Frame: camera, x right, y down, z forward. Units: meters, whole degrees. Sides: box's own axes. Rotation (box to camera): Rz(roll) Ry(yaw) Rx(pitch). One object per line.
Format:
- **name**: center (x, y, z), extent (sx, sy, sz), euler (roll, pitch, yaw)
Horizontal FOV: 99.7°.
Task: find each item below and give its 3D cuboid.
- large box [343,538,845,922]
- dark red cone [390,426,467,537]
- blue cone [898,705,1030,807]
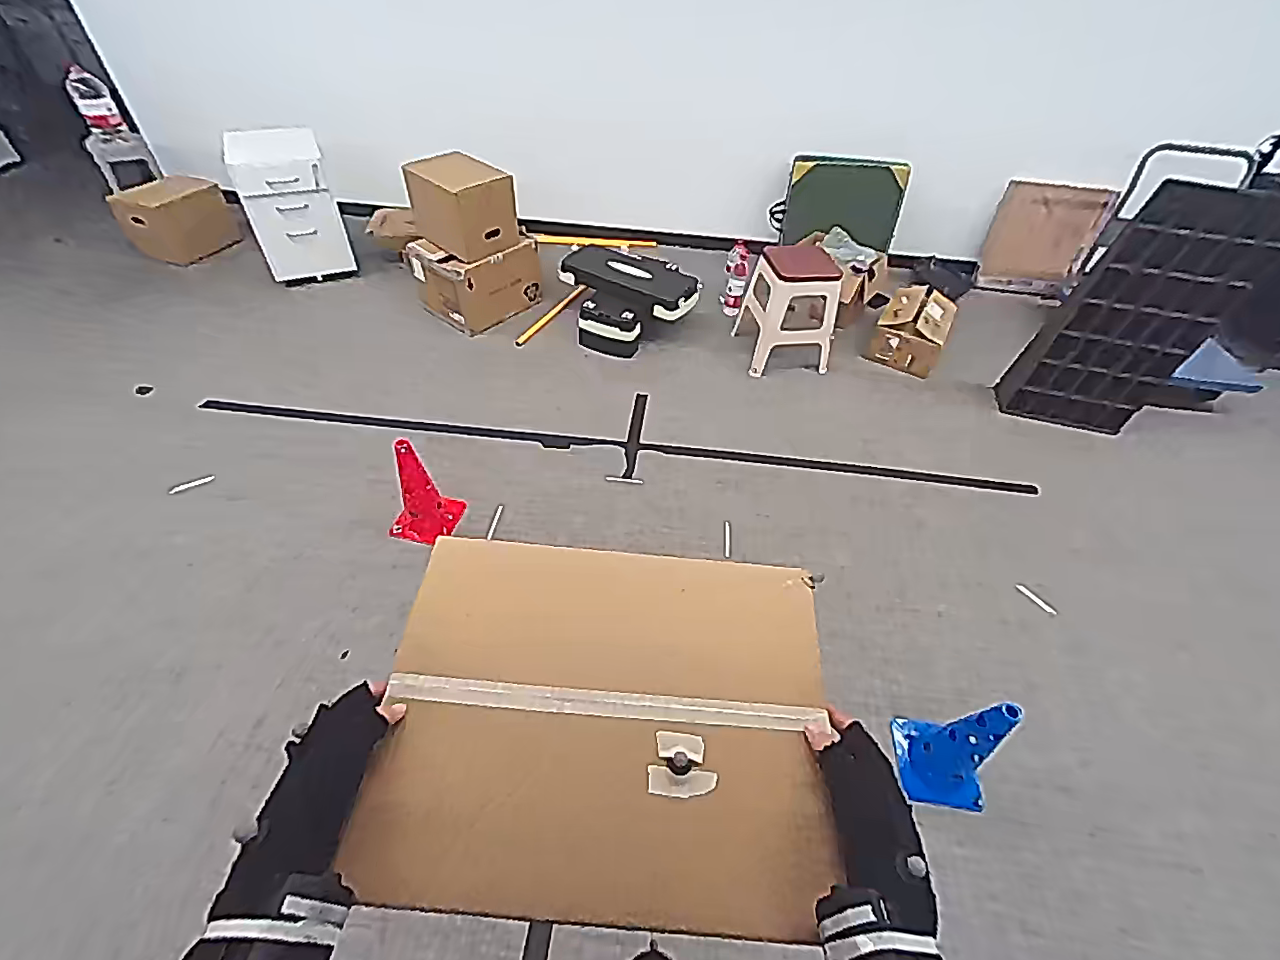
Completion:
- **large box**: center (-0.036, 0.291, 0.626), extent (0.408, 0.320, 0.320), euler (6, 55, 0)
- **dark red cone**: center (-0.701, -0.010, 1.710), extent (0.201, 0.394, 0.202), euler (12, 47, 5)
- **blue cone**: center (0.785, 0.621, 1.282), extent (0.192, 0.380, 0.193), euler (10, 47, 4)
